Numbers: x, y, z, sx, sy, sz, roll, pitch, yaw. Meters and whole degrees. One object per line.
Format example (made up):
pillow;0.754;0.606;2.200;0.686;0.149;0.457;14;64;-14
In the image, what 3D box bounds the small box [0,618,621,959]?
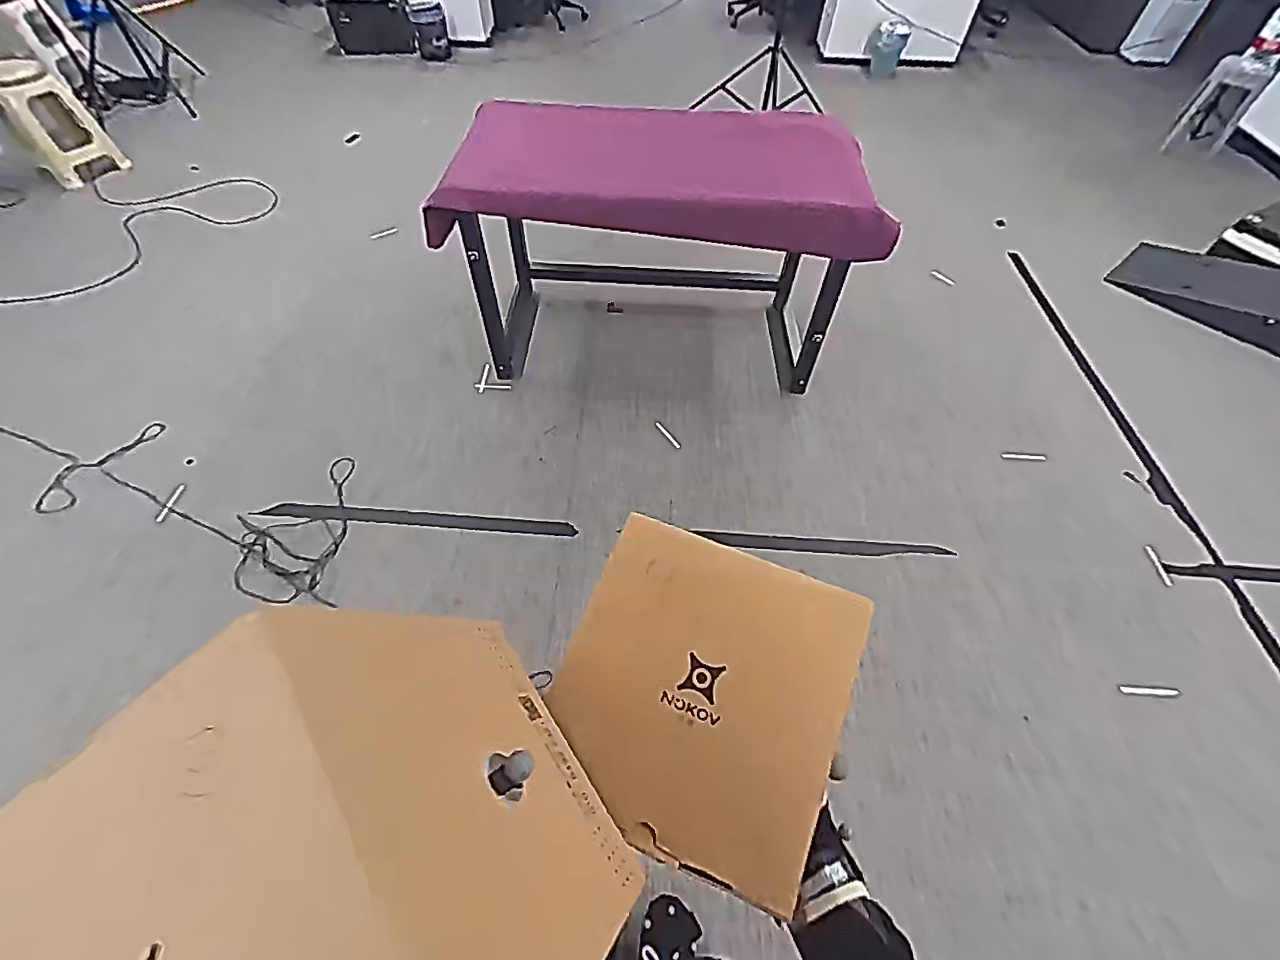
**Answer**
small box;-0.125;0.180;0.235;0.179;0.176;0.168;-39;67;1
